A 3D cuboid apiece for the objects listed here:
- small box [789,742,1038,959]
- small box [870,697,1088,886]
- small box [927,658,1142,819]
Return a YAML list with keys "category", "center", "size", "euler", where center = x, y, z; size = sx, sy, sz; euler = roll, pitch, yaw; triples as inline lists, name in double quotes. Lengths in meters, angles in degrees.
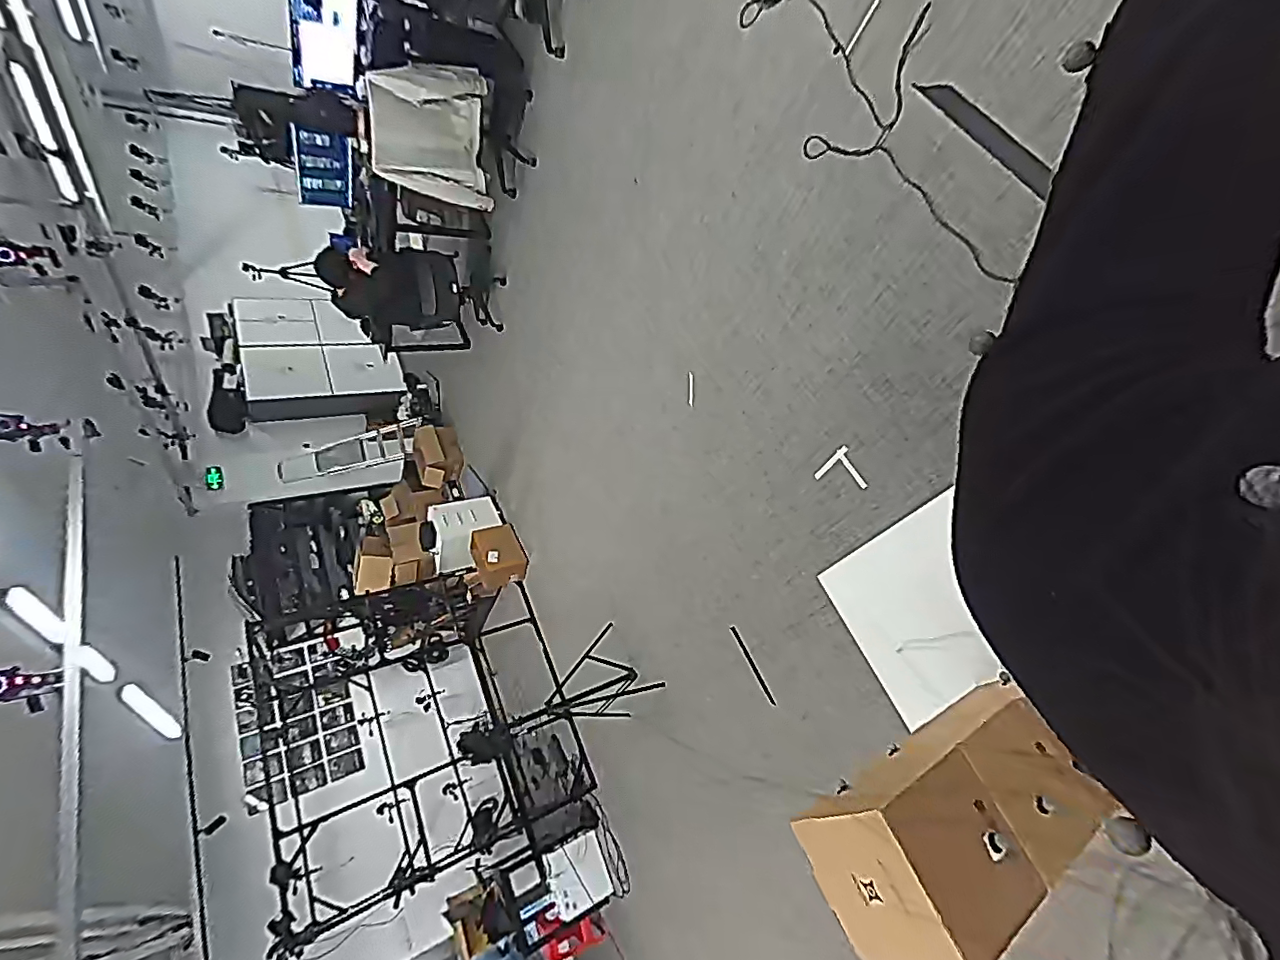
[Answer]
- category: "small box"
  center: [0.327, 0.449, 0.662]
  size: [0.168, 0.176, 0.179]
  euler: [62, 144, 24]
- category: "small box"
  center: [0.464, 0.423, 0.745]
  size: [0.168, 0.176, 0.179]
  euler: [63, 145, 24]
- category: "small box"
  center: [0.600, 0.398, 0.832]
  size: [0.168, 0.176, 0.179]
  euler: [64, 146, 23]
